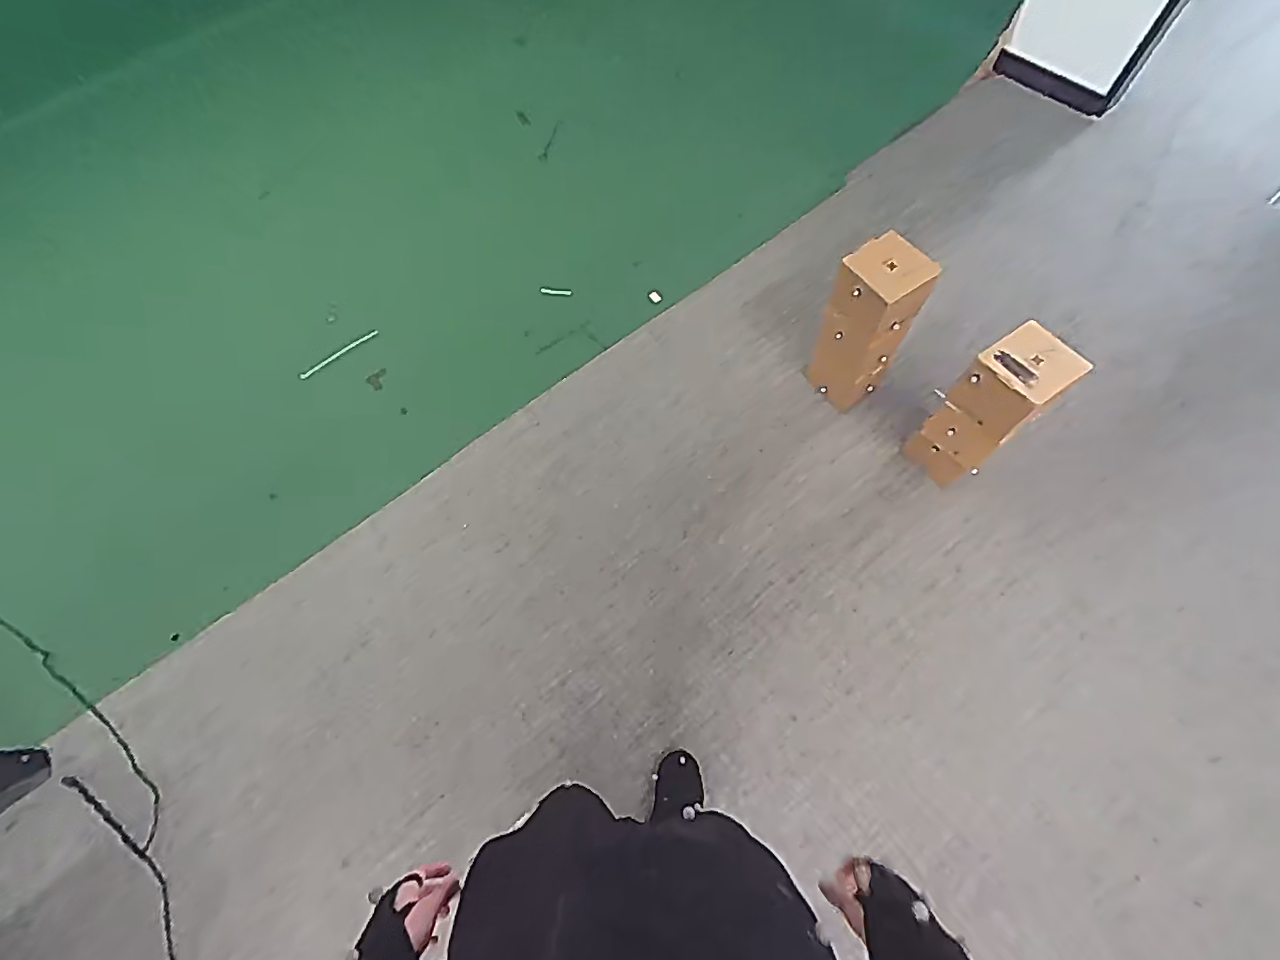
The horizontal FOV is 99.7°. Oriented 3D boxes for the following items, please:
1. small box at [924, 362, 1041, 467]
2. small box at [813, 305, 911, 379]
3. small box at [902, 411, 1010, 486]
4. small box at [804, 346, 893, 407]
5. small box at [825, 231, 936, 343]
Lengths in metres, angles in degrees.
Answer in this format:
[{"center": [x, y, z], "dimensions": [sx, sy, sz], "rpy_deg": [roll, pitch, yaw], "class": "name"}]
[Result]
[{"center": [0.871, -0.163, 1.401], "dimensions": [0.179, 0.176, 0.168], "rpy_deg": [-40, 69, -12], "class": "small box"}, {"center": [0.621, -0.423, 1.538], "dimensions": [0.168, 0.176, 0.179], "rpy_deg": [-34, 68, -9], "class": "small box"}, {"center": [0.895, -0.112, 1.553], "dimensions": [0.168, 0.176, 0.179], "rpy_deg": [-36, 68, -10], "class": "small box"}, {"center": [0.640, -0.351, 1.686], "dimensions": [0.168, 0.176, 0.179], "rpy_deg": [-35, 69, -10], "class": "small box"}, {"center": [0.606, -0.490, 1.391], "dimensions": [0.168, 0.176, 0.179], "rpy_deg": [-32, 68, -8], "class": "small box"}]
